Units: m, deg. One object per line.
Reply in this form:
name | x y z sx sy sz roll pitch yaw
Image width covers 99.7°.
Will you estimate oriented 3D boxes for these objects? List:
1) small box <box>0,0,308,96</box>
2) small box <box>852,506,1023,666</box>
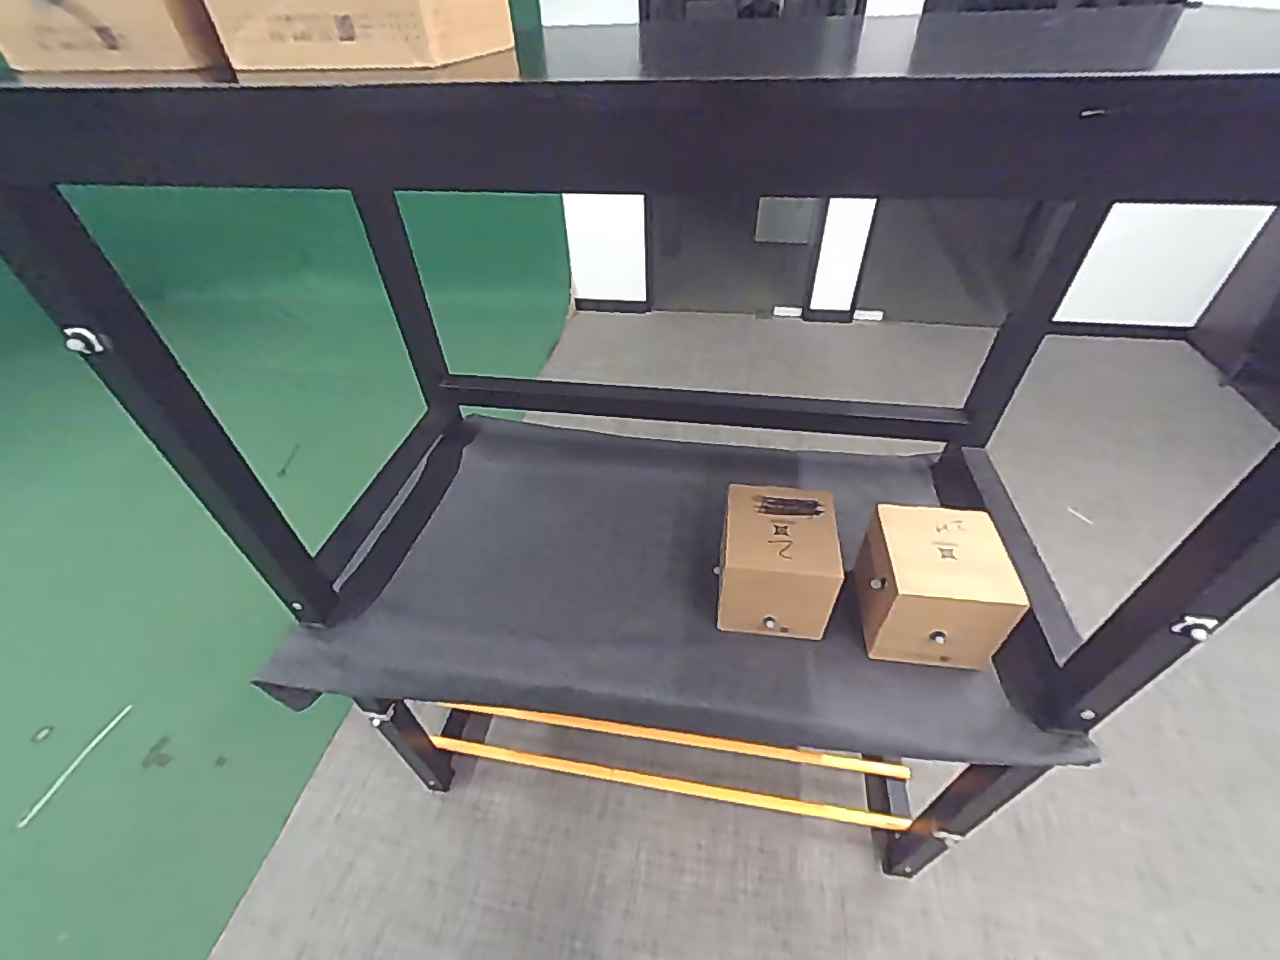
small box | -0.411 -0.429 0.440 0.168 0.176 0.179 4 44 7
small box | 0.439 0.163 0.832 0.168 0.176 0.179 4 41 7
